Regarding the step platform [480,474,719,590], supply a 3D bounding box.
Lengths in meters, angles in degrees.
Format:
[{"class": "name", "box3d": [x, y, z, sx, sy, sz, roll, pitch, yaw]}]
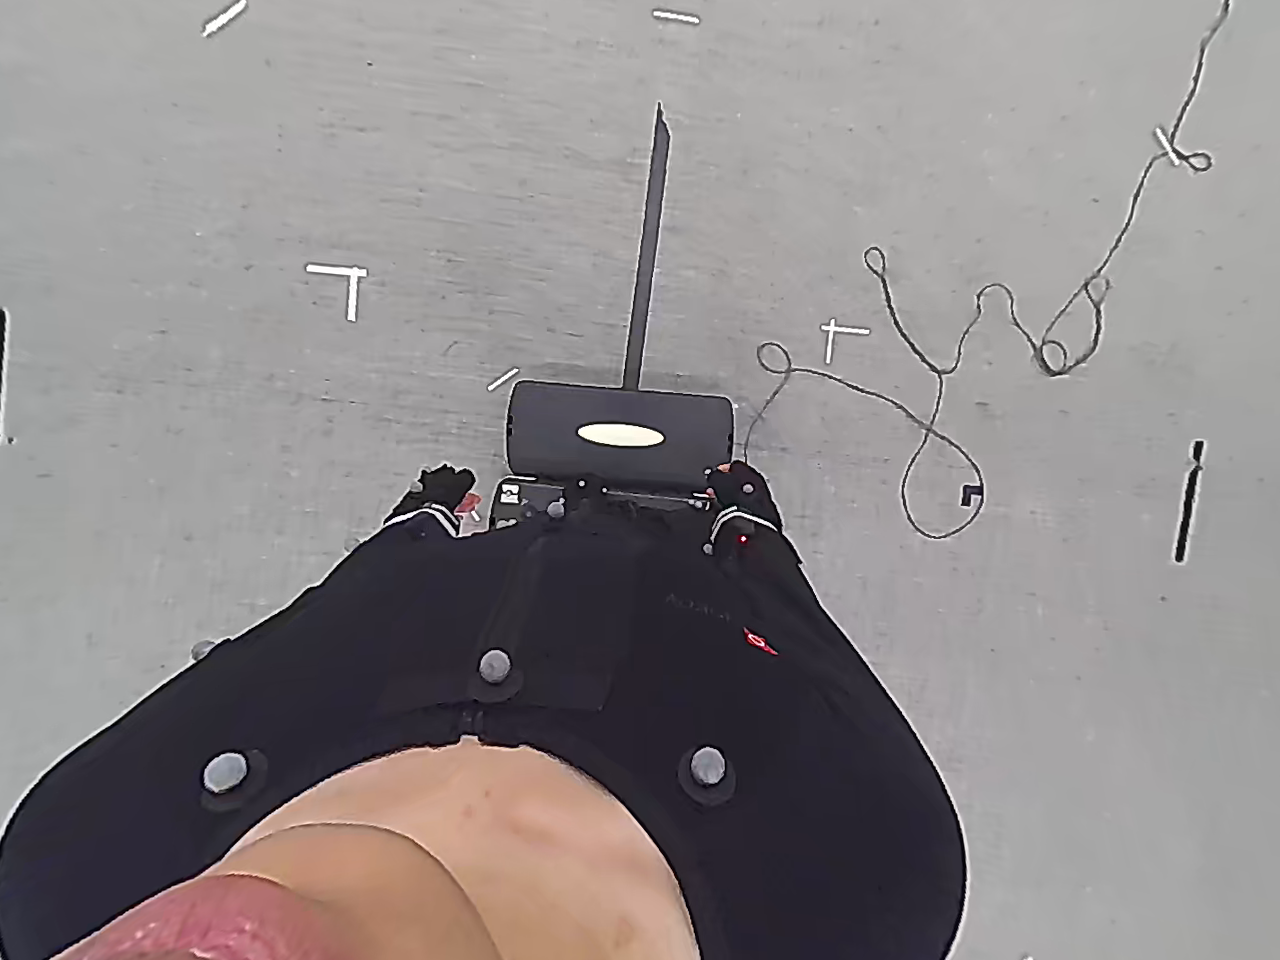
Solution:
[{"class": "step platform", "box3d": [-0.113, 0.149, 1.580, 0.684, 0.204, 0.286, 5, 91, -2]}]
